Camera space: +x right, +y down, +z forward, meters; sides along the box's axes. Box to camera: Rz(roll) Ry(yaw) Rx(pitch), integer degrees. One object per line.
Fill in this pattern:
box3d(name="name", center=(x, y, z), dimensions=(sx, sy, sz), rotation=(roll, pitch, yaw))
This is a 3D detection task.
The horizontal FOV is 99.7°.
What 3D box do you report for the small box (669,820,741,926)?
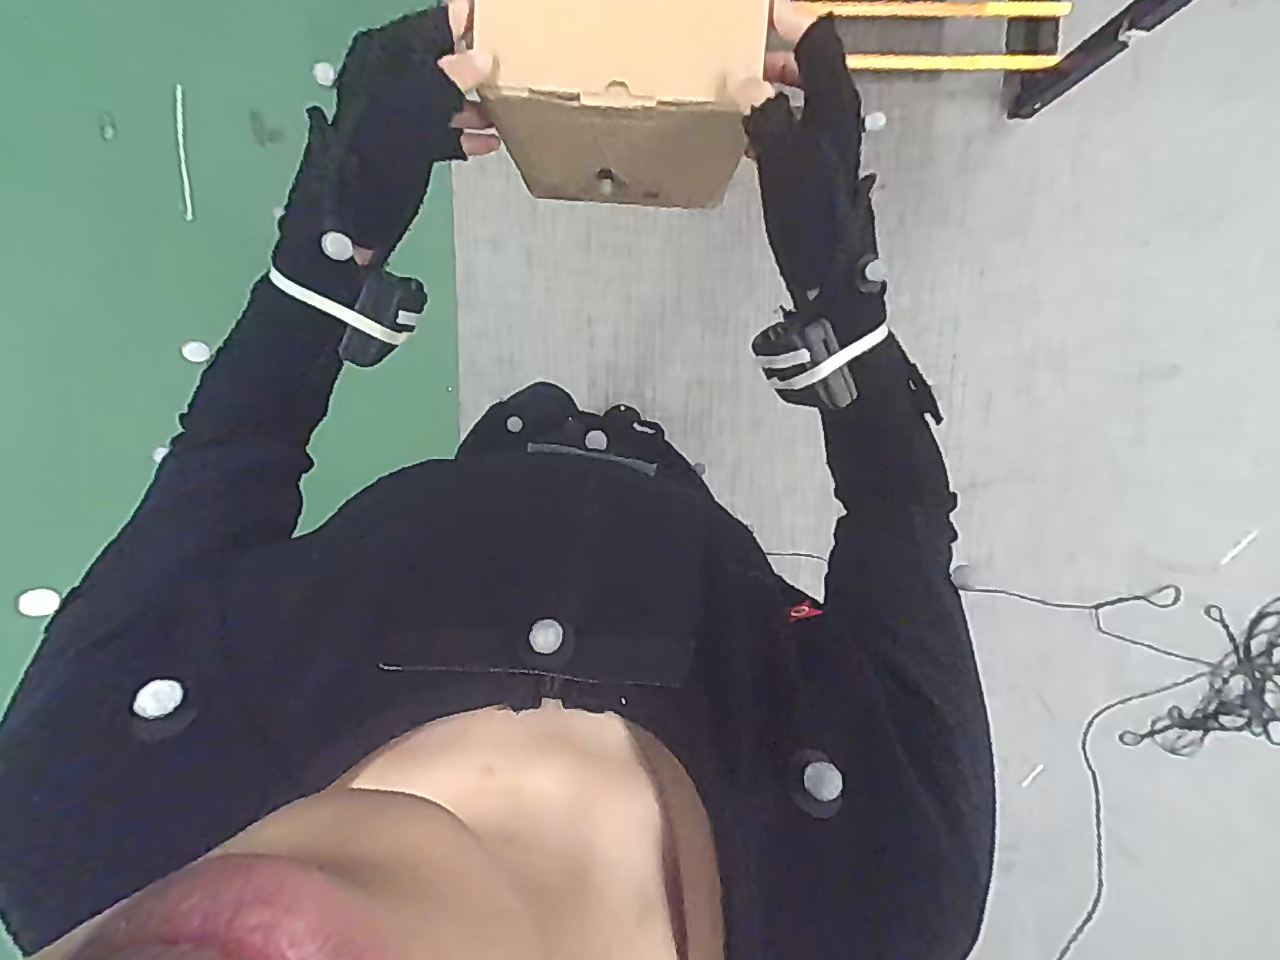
box3d(name="small box", center=(0.178, 1.106, 1.533), dimensions=(0.168, 0.176, 0.179), rotation=(7, 98, -2))
